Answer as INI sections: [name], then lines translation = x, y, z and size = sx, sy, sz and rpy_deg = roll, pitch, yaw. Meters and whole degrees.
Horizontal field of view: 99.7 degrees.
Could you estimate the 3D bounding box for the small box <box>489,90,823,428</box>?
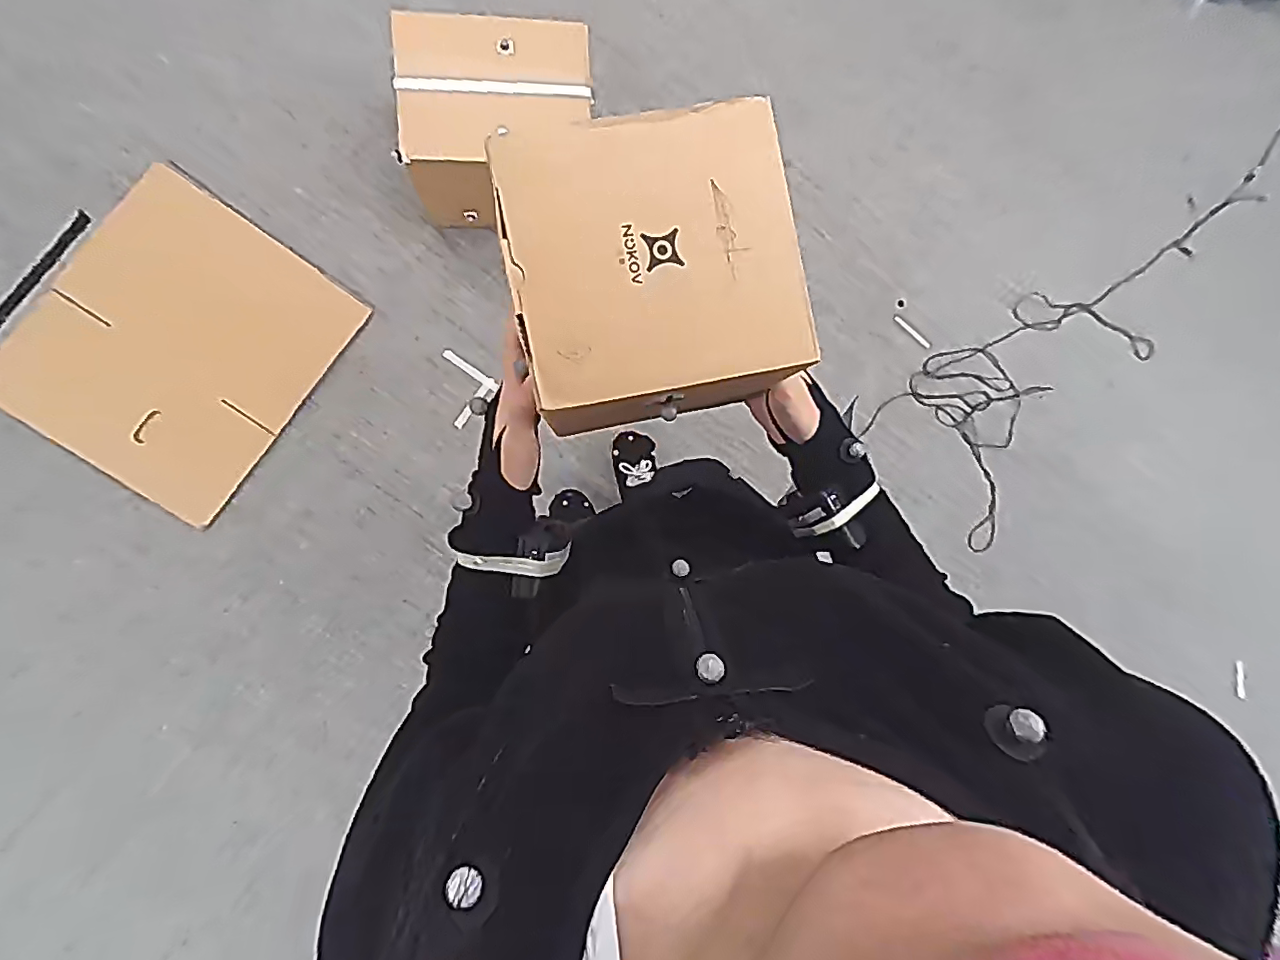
[small box]
translation = 0.006, -0.138, 0.400
size = 0.179, 0.176, 0.168
rpy_deg = -12, 91, -5
